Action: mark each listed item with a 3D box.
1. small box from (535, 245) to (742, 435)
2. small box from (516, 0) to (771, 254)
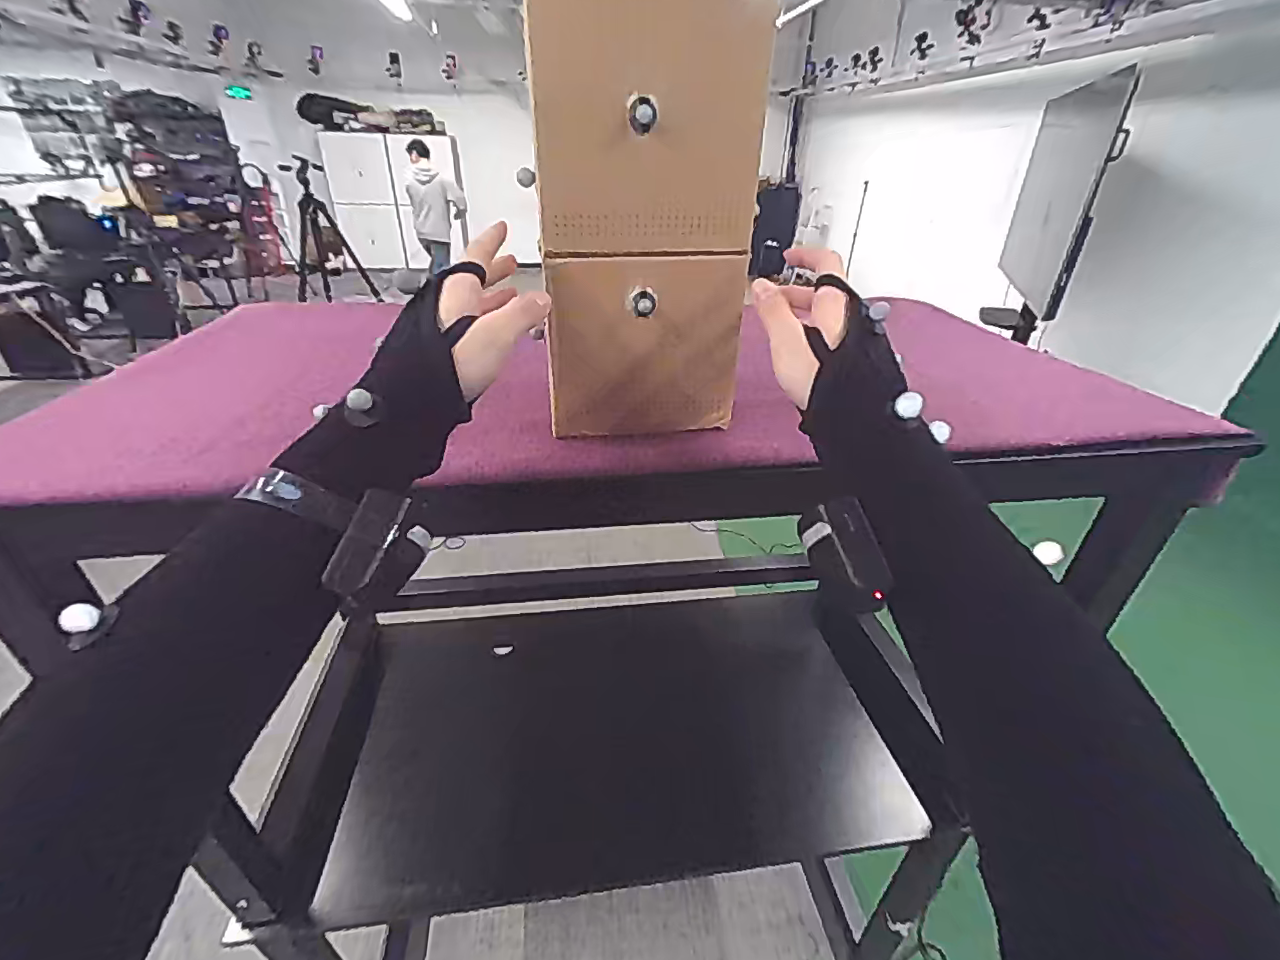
[{"bbox_3d":[-0.010,-0.152,0.549,0.179,0.176,0.168,-4,31,-8],"label":"small box"},{"bbox_3d":[-0.007,-0.293,0.467,0.179,0.176,0.168,-5,32,-8],"label":"small box"}]
